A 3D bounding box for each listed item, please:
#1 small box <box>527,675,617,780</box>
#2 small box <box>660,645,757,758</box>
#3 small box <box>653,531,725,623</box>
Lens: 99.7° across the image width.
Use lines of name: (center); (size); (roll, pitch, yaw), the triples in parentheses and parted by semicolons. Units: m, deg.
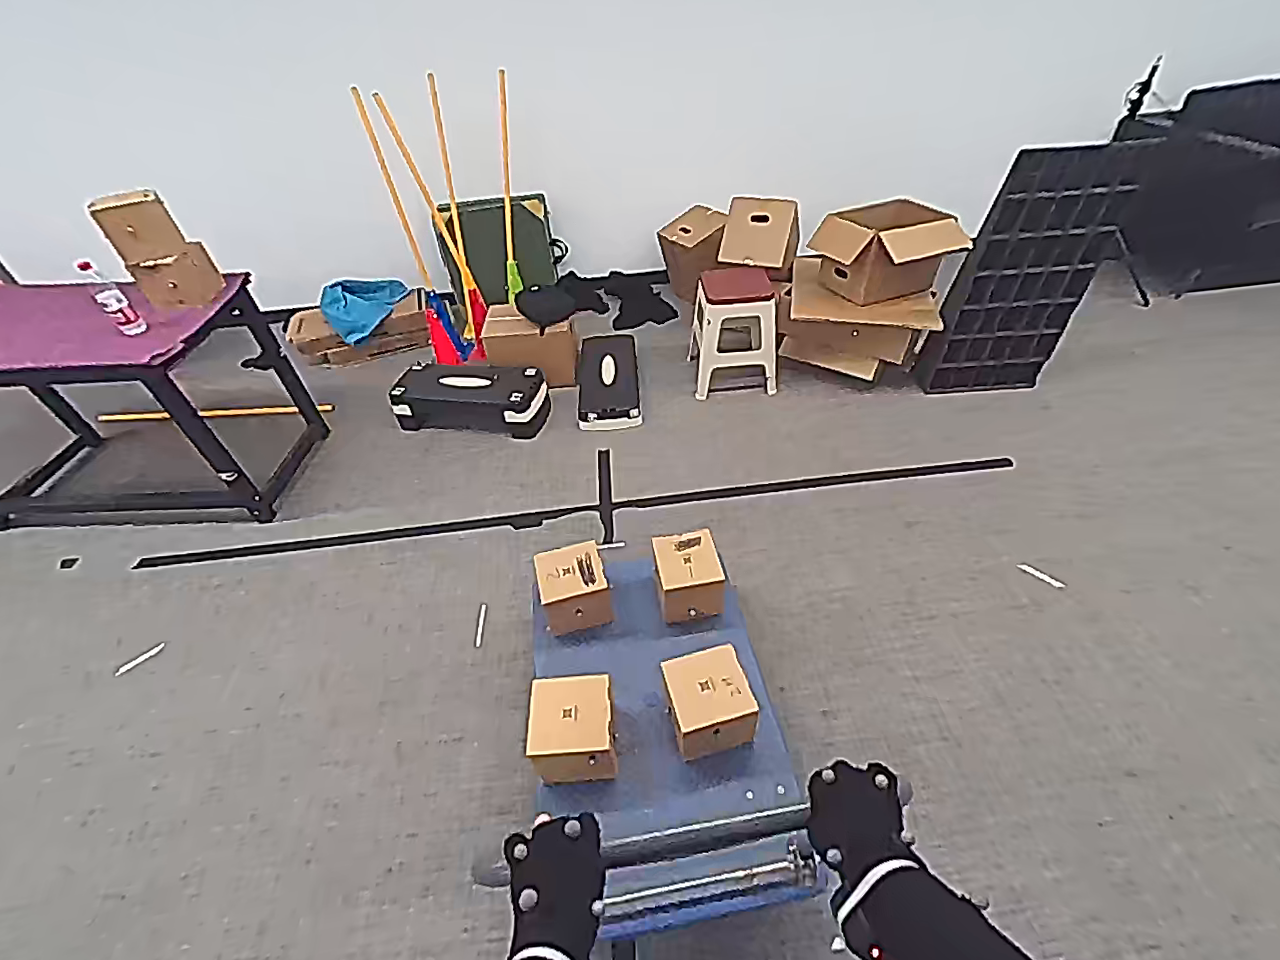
small box: (-0.147, 0.564, 1.227); (0.179, 0.176, 0.168); (-4, 44, -1)
small box: (0.154, 0.515, 1.250); (0.179, 0.176, 0.168); (-13, 45, -8)
small box: (0.130, 0.271, 1.505); (0.168, 0.176, 0.179); (-9, 45, -4)
